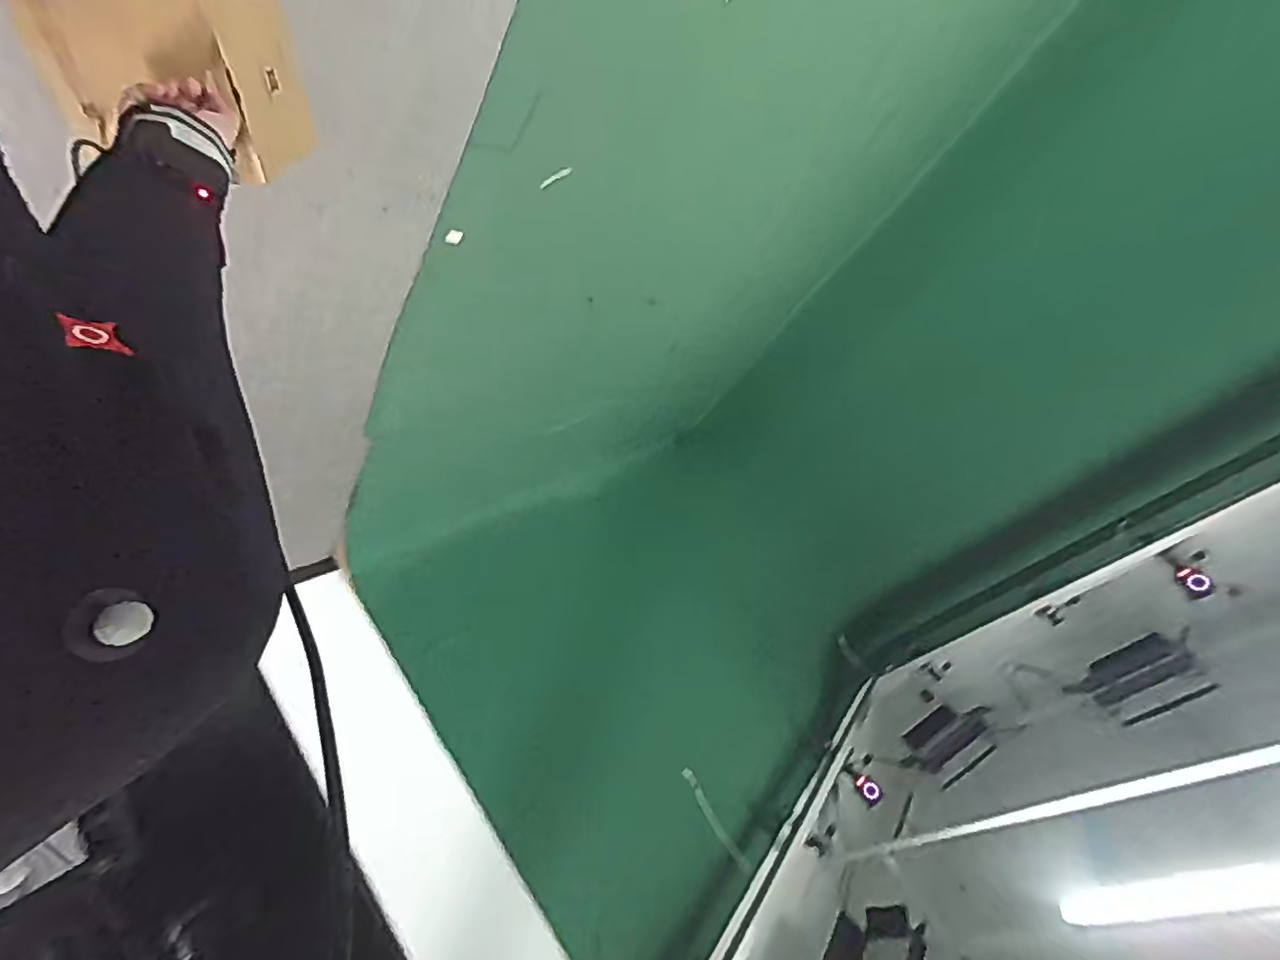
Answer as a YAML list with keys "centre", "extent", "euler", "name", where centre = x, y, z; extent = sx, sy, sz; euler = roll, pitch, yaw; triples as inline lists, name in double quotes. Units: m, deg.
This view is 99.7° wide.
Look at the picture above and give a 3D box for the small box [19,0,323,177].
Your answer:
- centre: [-0.469, -0.431, 0.560]
  extent: [0.176, 0.179, 0.168]
  euler: [-1, 135, -8]
  name: "small box"
